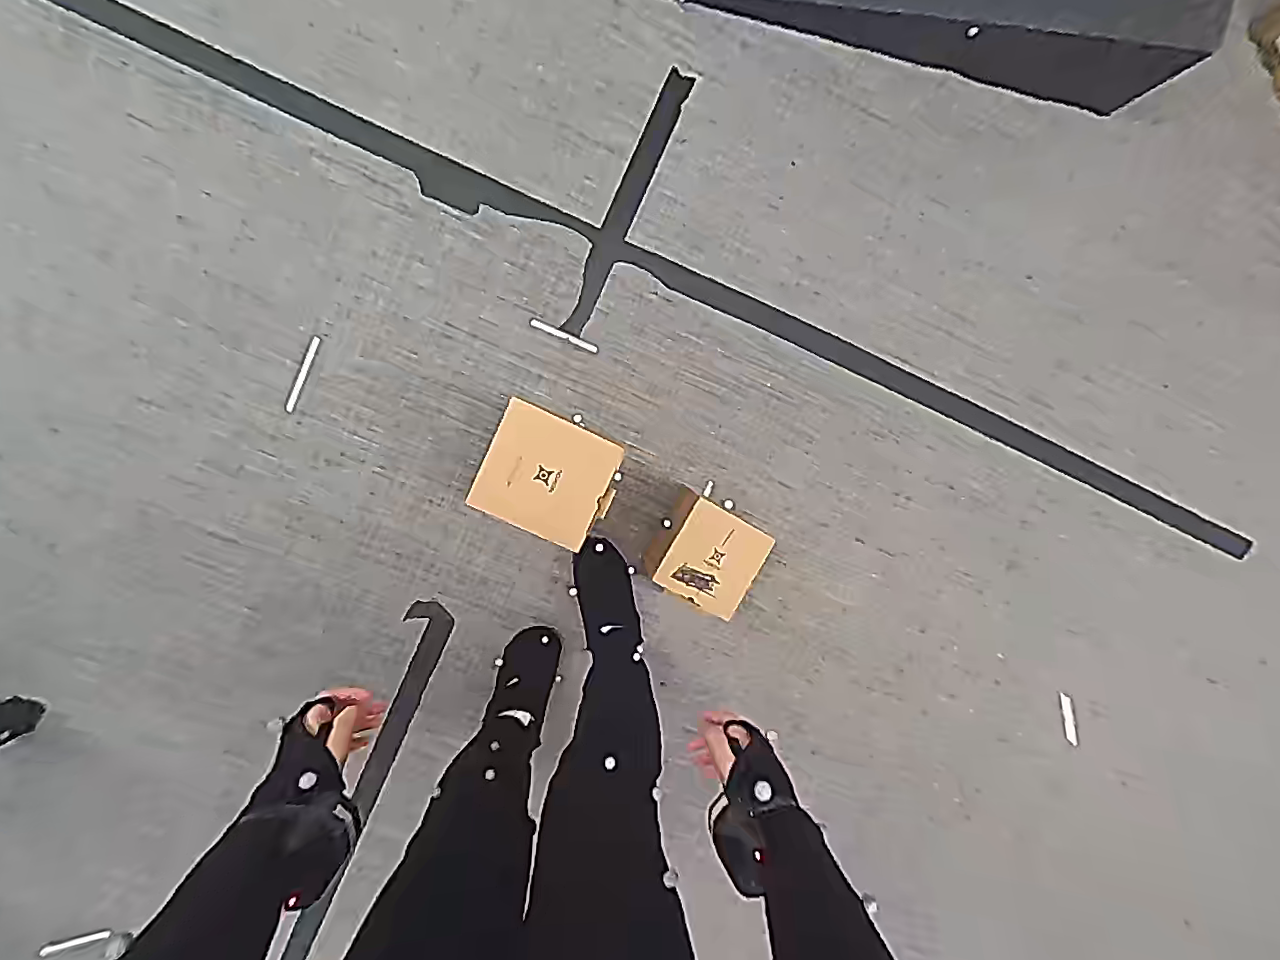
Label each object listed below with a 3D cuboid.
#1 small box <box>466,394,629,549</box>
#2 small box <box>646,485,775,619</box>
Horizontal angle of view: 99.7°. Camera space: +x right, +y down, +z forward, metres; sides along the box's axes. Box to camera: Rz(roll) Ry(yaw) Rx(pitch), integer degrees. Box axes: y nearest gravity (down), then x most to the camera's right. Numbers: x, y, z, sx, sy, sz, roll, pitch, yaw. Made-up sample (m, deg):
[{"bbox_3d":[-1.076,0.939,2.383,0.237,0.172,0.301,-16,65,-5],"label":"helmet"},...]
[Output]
[{"bbox_3d":[-0.133,-0.020,0.825,0.179,0.176,0.168,26,94,-7],"label":"small box"},{"bbox_3d":[0.124,0.129,1.035,0.168,0.176,0.179,30,93,-9],"label":"small box"}]
